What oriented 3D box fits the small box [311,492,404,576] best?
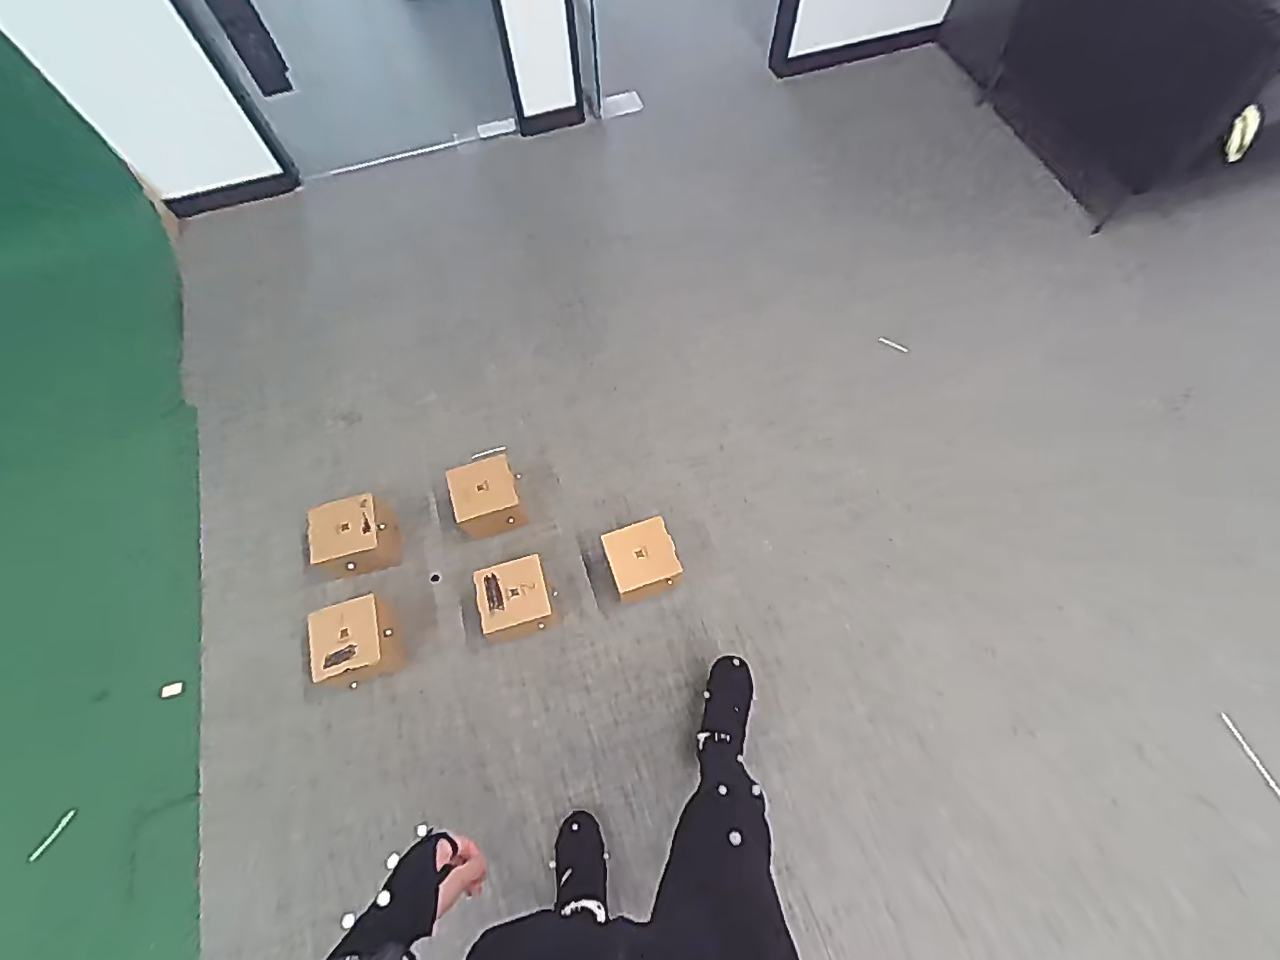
[{"bbox_3d":[-0.788,0.157,1.515,0.179,0.176,0.168,-15,67,-5],"label":"small box"}]

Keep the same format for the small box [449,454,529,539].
[{"bbox_3d":[-0.428,0.052,1.558,0.179,0.176,0.168,-17,66,-6],"label":"small box"}]

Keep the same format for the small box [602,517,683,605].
[{"bbox_3d":[0.007,0.226,1.478,0.179,0.176,0.168,-18,67,-8],"label":"small box"}]

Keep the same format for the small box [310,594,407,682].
[{"bbox_3d":[-0.723,0.415,1.399,0.168,0.176,0.179,-16,66,-7],"label":"small box"}]
